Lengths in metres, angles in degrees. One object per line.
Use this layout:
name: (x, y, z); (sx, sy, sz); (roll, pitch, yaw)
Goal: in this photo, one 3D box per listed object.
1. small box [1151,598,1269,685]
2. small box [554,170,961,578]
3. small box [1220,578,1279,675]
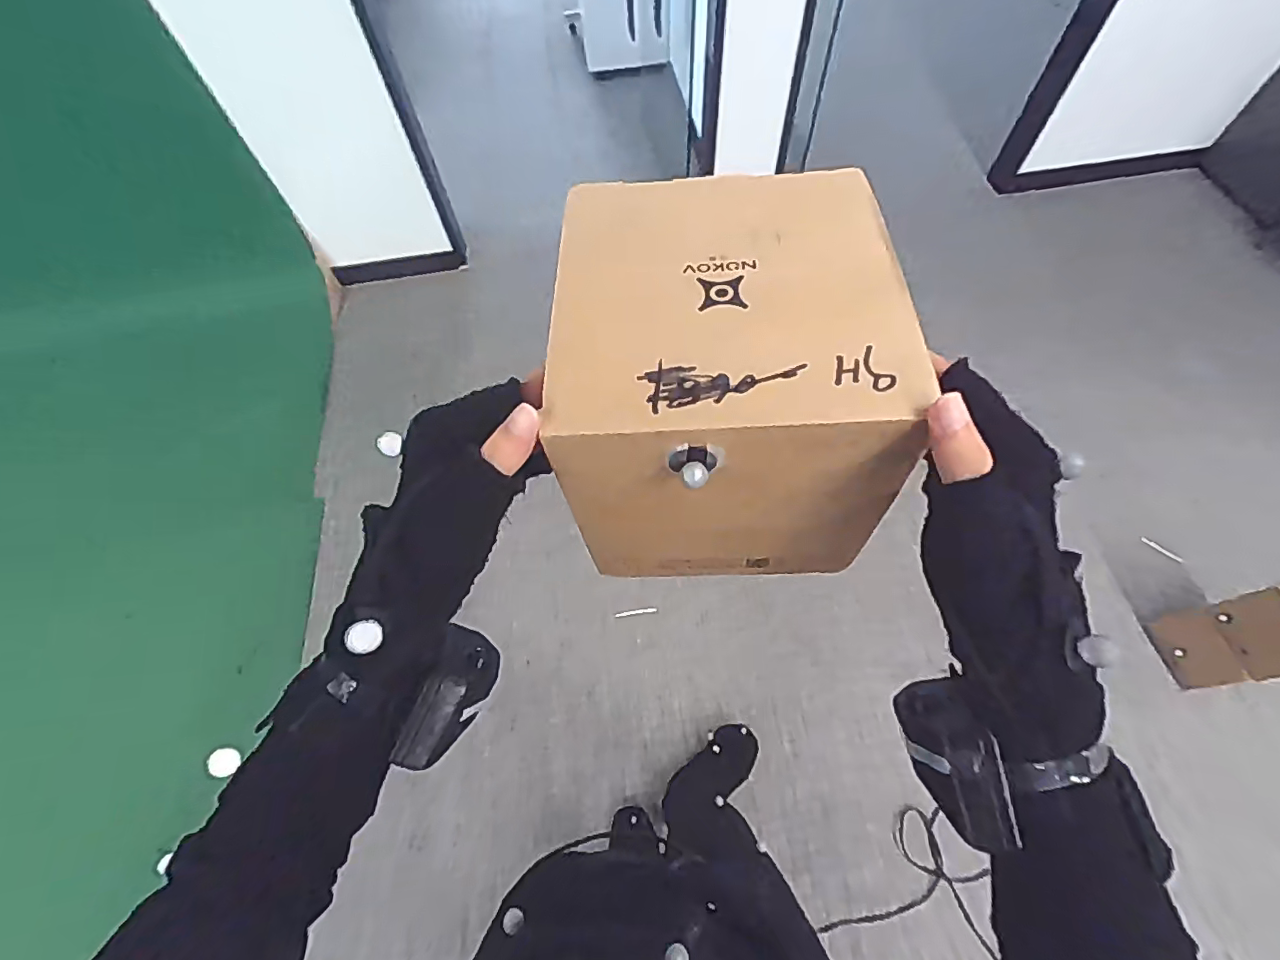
small box: (1.362, 0.368, 1.245); (0.179, 0.176, 0.168); (-8, 61, -1)
small box: (0.054, -0.054, 0.329); (0.168, 0.176, 0.179); (-2, 59, 5)
small box: (1.362, 0.290, 1.101); (0.179, 0.176, 0.168); (-8, 62, -2)
